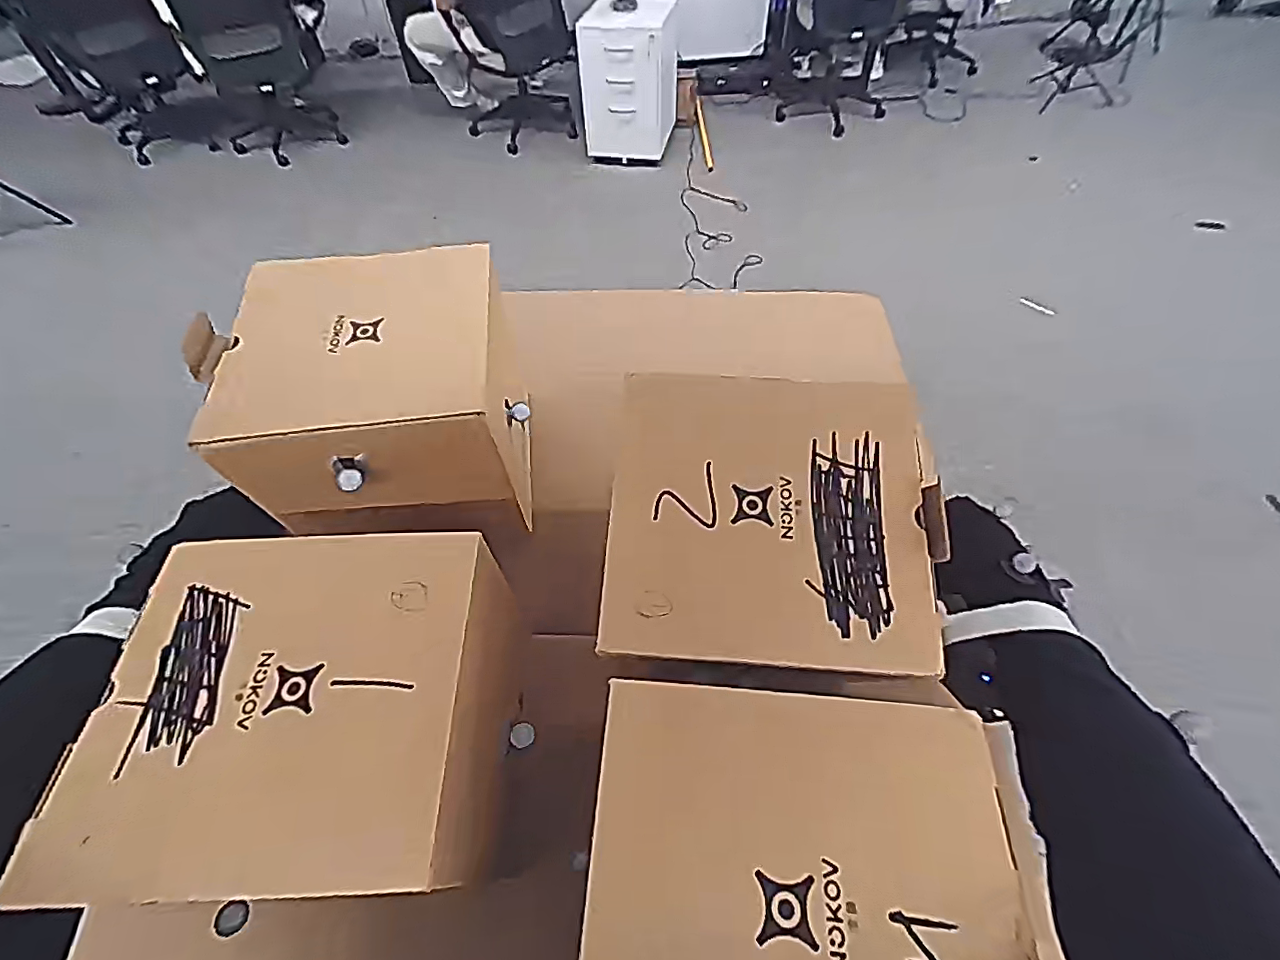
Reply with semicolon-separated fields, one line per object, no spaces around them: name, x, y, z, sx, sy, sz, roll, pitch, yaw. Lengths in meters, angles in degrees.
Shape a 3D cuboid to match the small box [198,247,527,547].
small box;-0.190;-0.059;0.439;0.179;0.176;0.168;-7;58;-3
